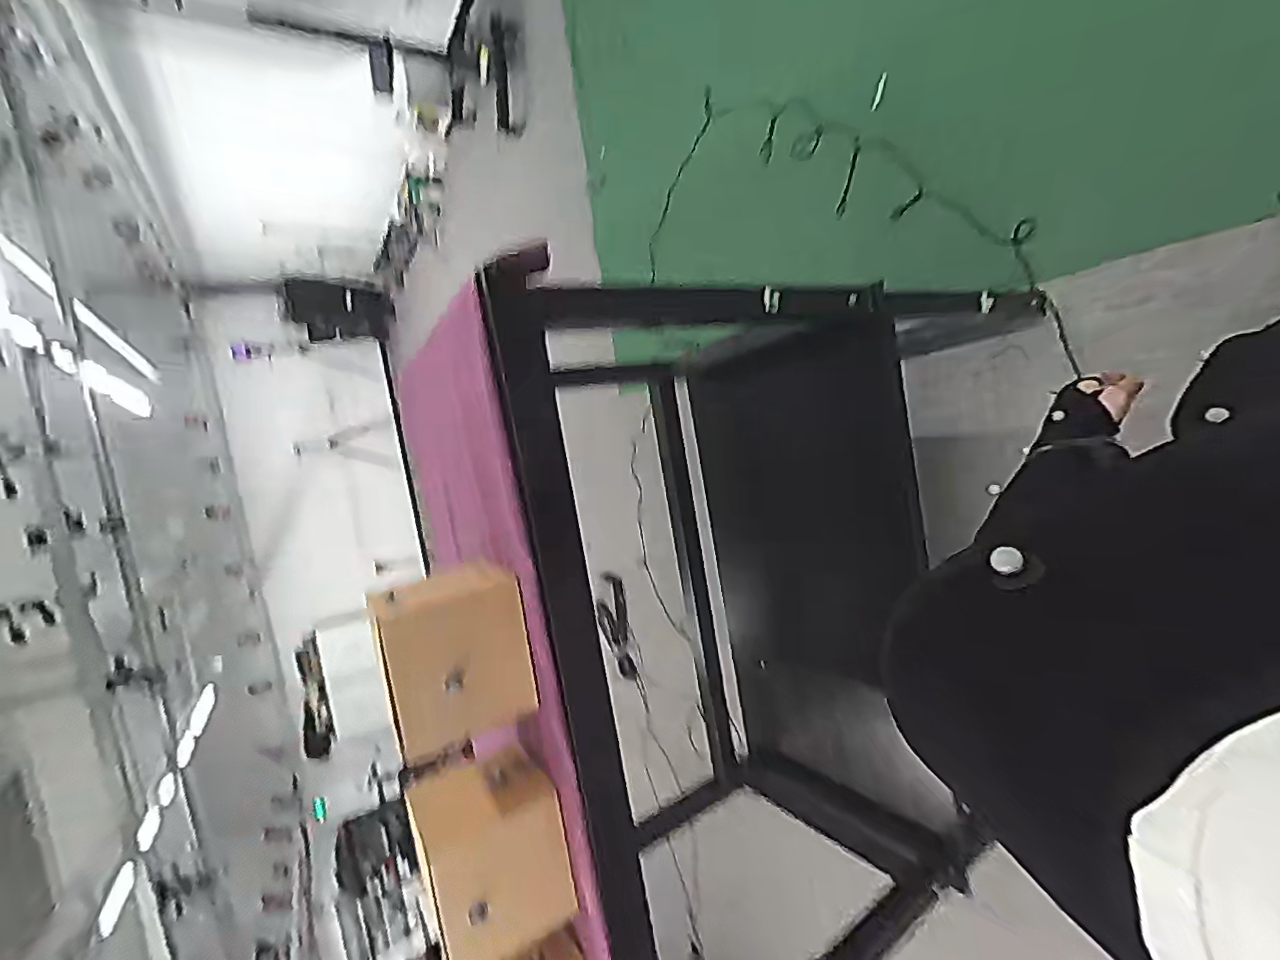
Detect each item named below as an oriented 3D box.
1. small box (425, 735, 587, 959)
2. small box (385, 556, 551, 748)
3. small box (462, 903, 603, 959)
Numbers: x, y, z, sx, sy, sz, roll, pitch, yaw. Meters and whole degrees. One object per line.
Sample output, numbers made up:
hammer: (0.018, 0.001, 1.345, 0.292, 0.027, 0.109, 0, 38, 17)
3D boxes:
small box: (-0.186, 0.498, 0.756, 0.168, 0.176, 0.179, 0, 100, 59)
small box: (-0.234, 0.218, 0.739, 0.168, 0.176, 0.179, 1, 102, 59)
small box: (-0.138, 0.756, 0.767, 0.168, 0.176, 0.179, -11, 90, 60)
